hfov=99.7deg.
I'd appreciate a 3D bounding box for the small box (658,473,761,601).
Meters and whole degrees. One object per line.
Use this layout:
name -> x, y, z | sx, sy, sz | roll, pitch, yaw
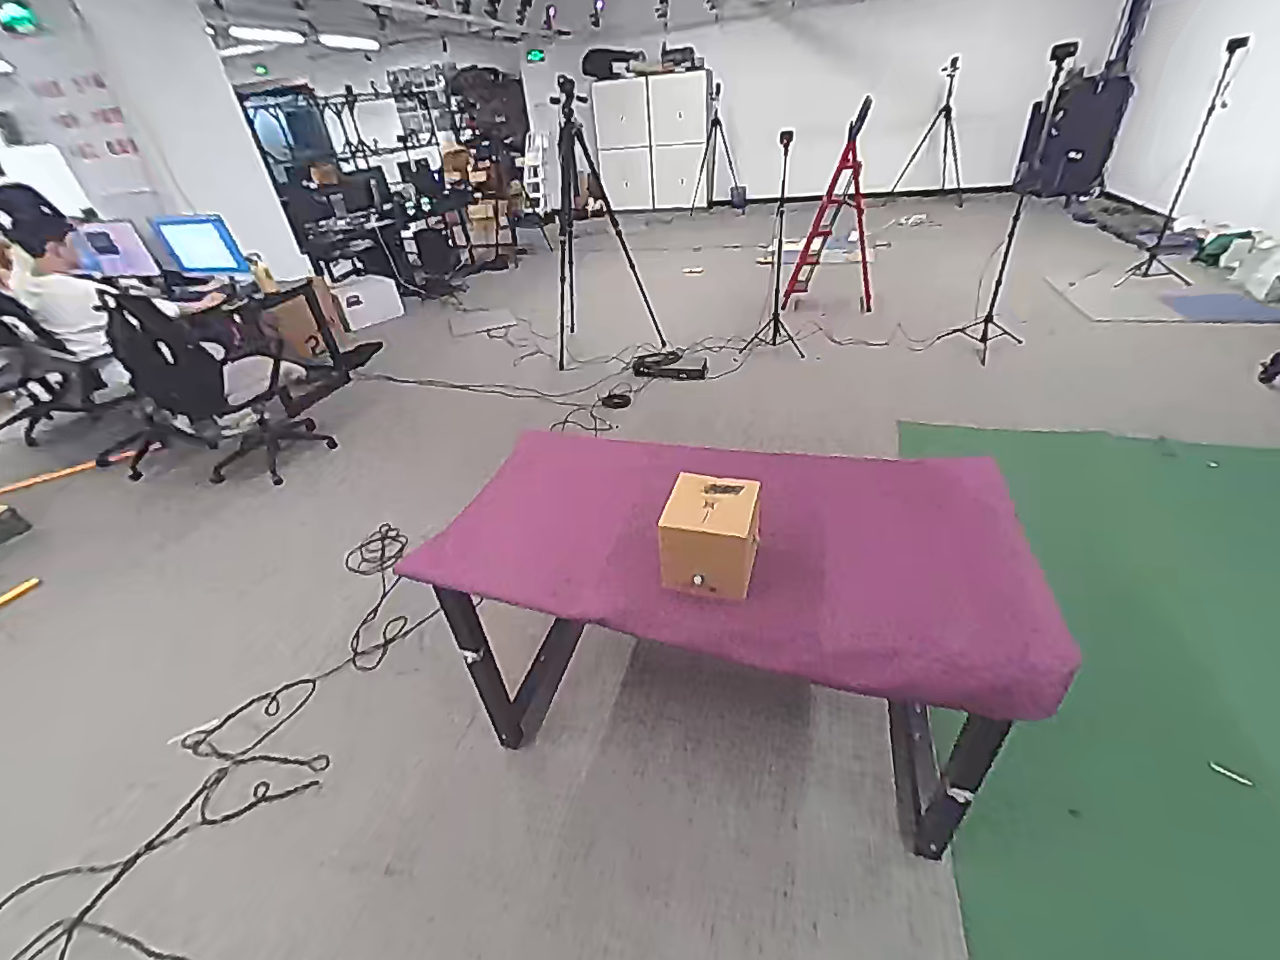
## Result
small box -> 0.140, 0.109, 1.065 | 0.168, 0.176, 0.179 | 6, 37, 18
